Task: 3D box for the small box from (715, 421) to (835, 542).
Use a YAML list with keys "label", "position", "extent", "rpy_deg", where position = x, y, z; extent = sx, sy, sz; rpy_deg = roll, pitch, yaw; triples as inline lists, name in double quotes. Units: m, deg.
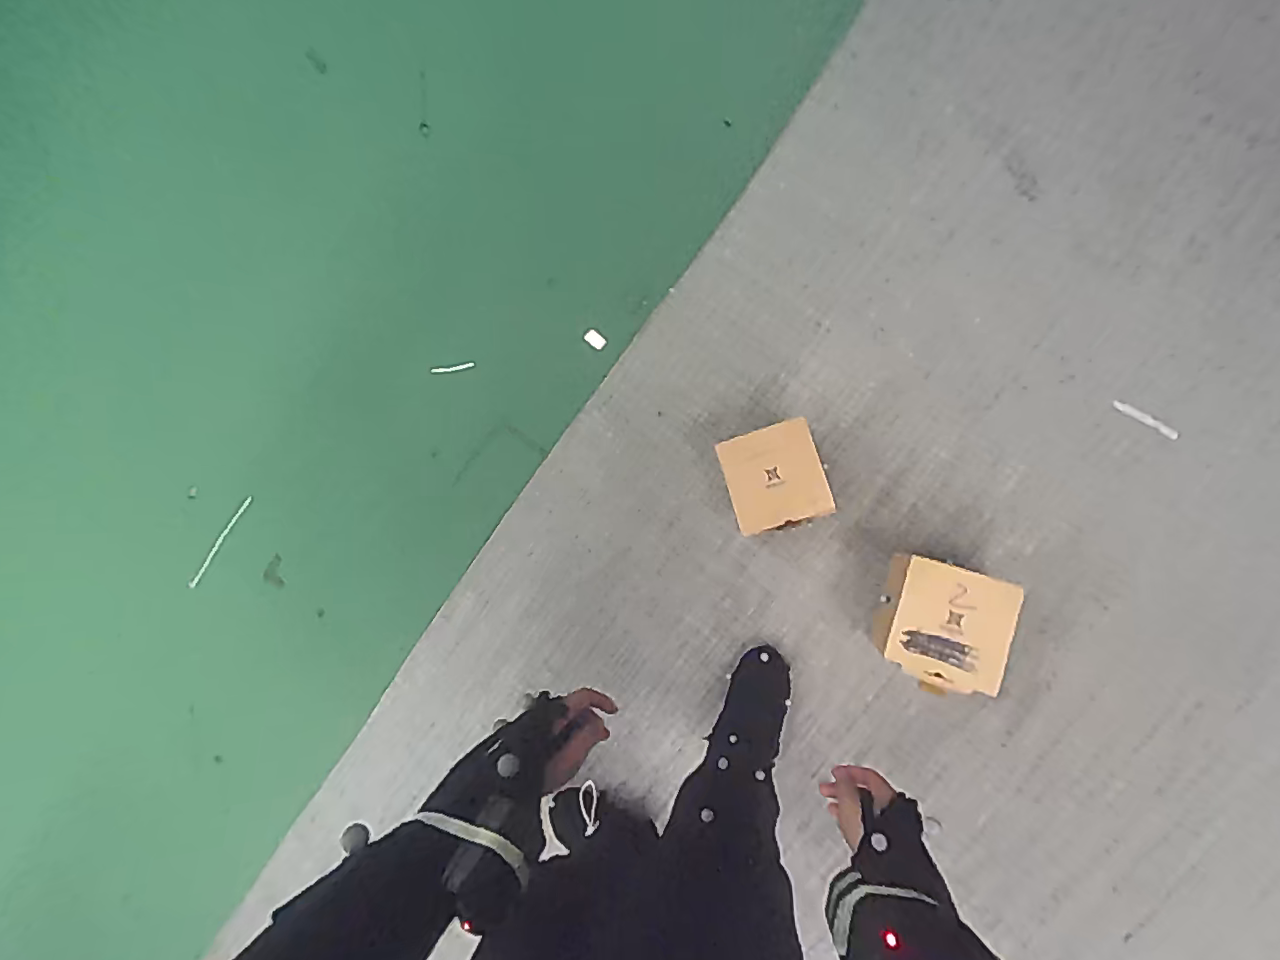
- label: "small box"
  position: [0.252, 0.010, 1.012]
  extent: [0.168, 0.176, 0.179]
  rpy_deg: [-18, 79, 12]
